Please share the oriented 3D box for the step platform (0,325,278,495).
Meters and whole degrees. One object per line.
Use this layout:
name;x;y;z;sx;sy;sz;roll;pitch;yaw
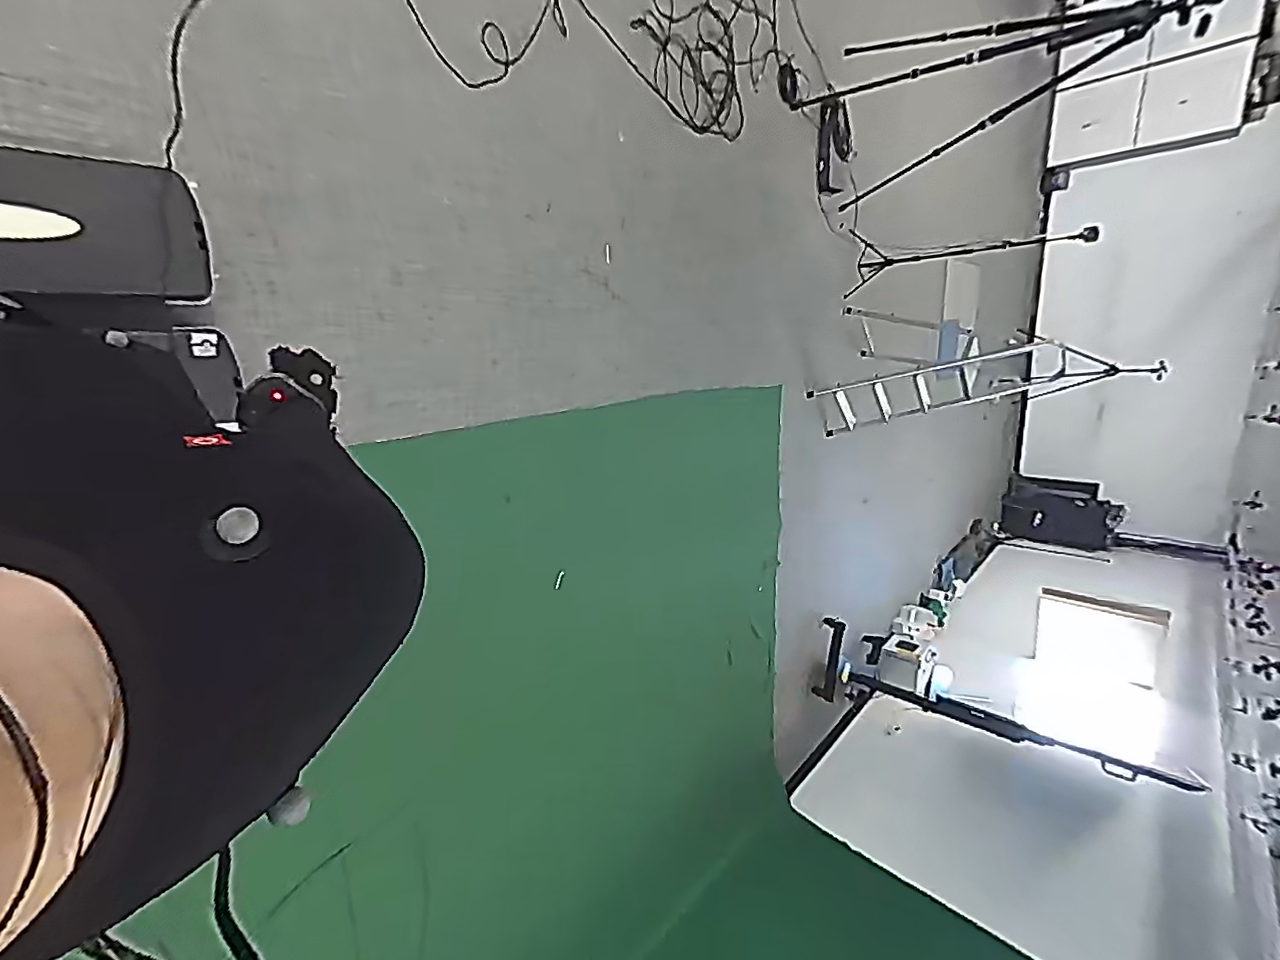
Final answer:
step platform;-1.063;-0.116;0.944;0.684;0.204;0.286;-17;110;-45
